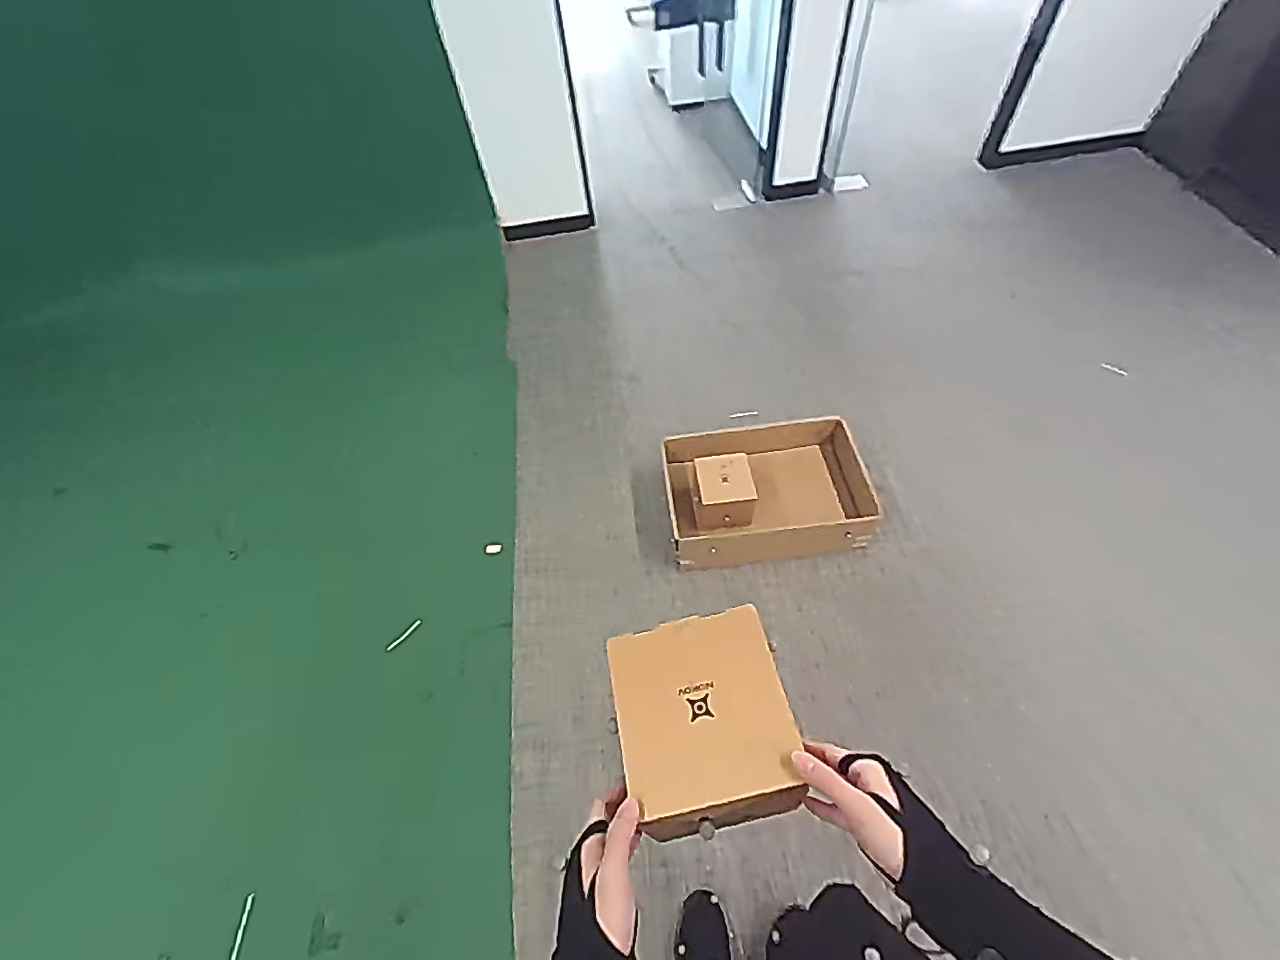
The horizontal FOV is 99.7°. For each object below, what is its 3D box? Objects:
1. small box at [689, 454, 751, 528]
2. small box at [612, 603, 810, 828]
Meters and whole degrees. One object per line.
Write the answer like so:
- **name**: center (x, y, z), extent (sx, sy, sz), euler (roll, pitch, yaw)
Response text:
- **small box**: center (0.251, 0.042, 1.730), extent (0.168, 0.176, 0.179), euler (-6, 56, -1)
- **small box**: center (0.075, 0.266, 0.596), extent (0.168, 0.176, 0.179), euler (-13, 49, 1)
